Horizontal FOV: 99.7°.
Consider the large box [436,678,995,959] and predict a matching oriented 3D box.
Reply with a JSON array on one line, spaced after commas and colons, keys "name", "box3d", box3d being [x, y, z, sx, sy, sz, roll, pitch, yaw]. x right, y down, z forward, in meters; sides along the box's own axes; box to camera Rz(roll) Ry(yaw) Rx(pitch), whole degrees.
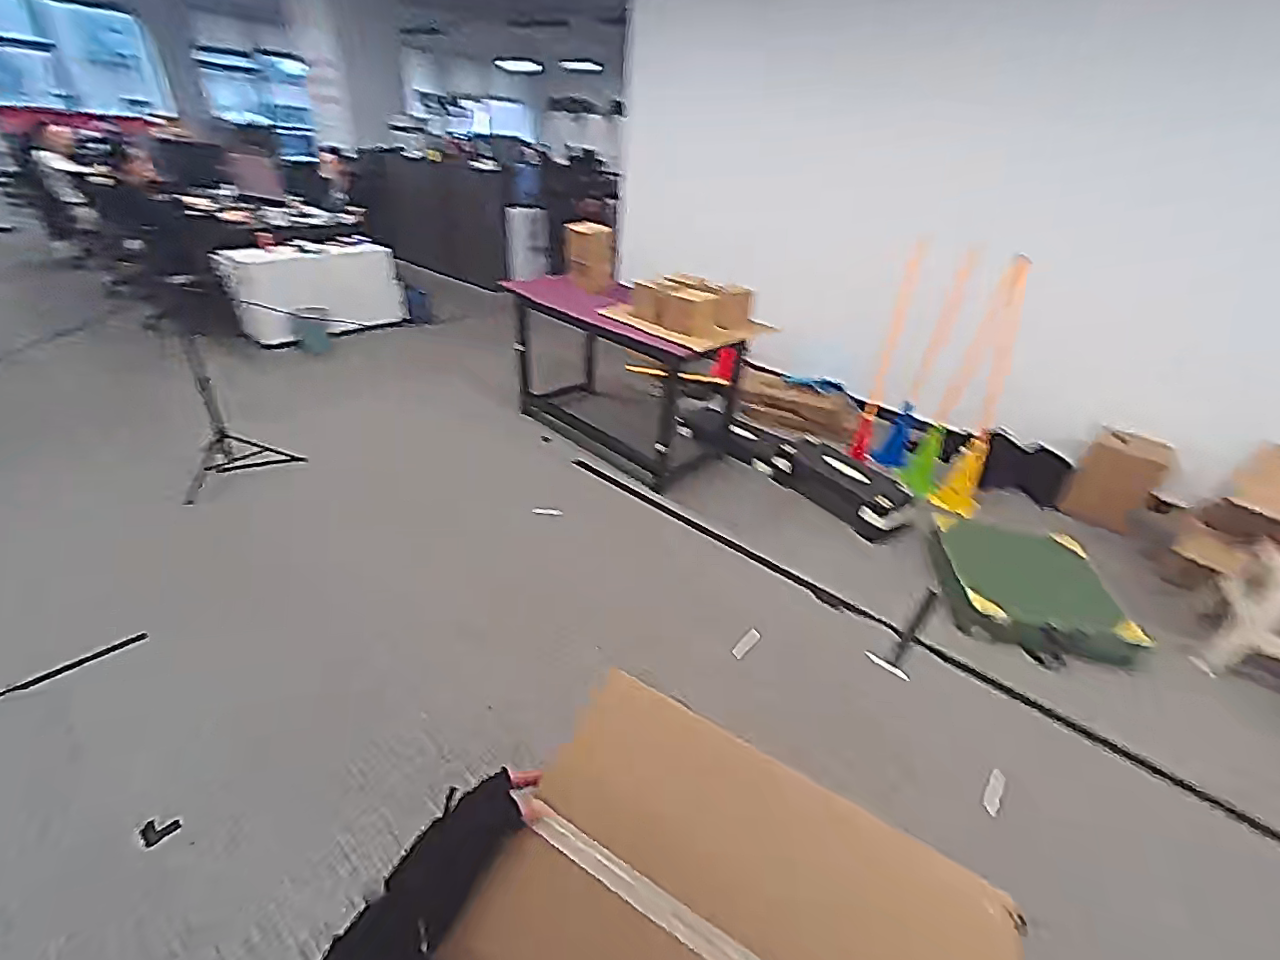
[{"name": "large box", "box3d": [0.063, 0.488, 0.556, 0.408, 0.320, 0.320, 23, 50, 20]}]
